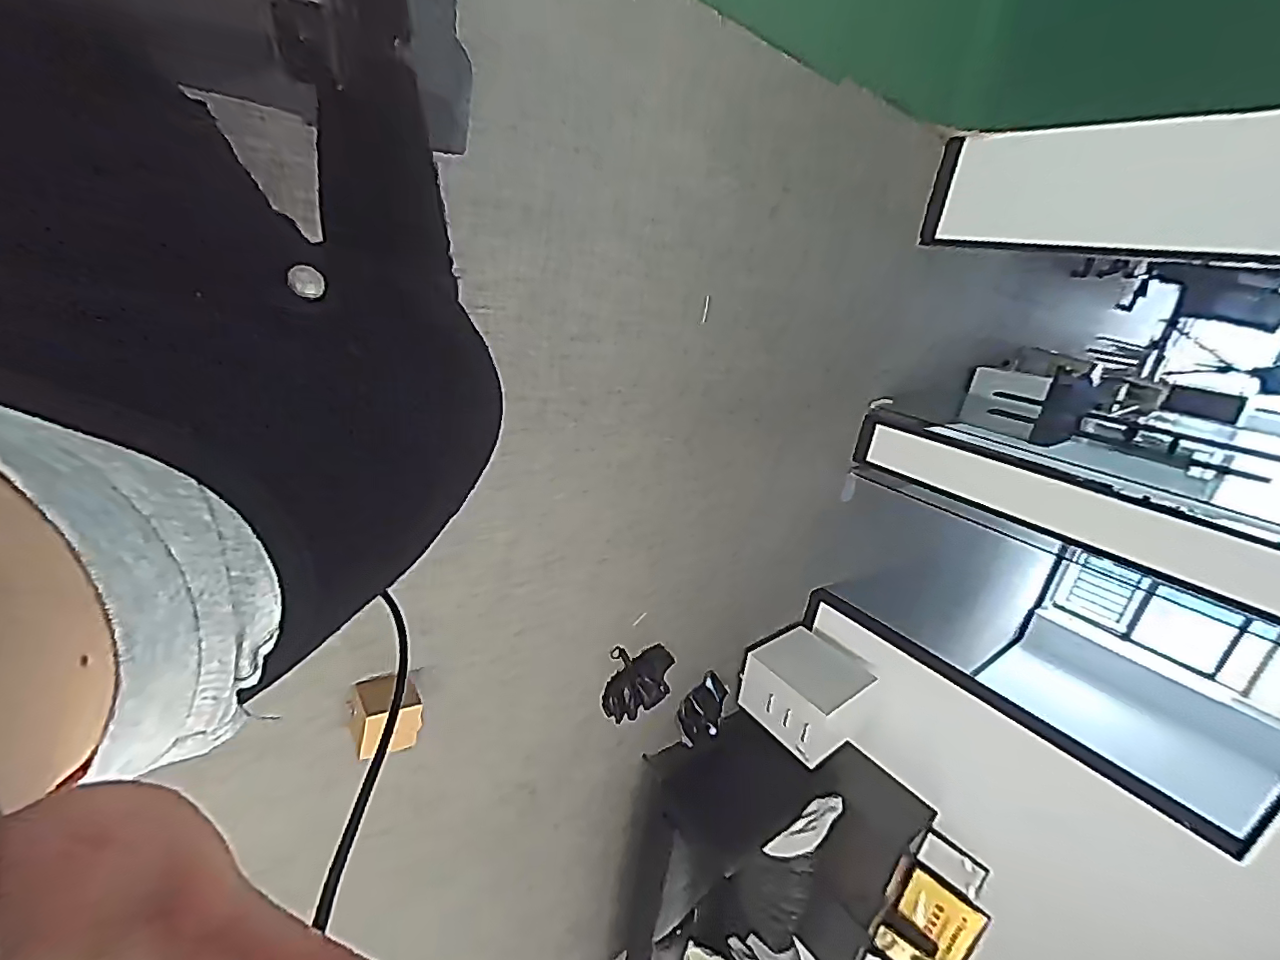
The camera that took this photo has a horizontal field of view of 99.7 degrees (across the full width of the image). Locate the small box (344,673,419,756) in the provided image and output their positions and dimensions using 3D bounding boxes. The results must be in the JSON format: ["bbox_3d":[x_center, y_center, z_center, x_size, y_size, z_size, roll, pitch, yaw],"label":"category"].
[{"bbox_3d":[-0.853,0.761,1.776,0.179,0.176,0.168,3,109,-40],"label":"small box"}]
